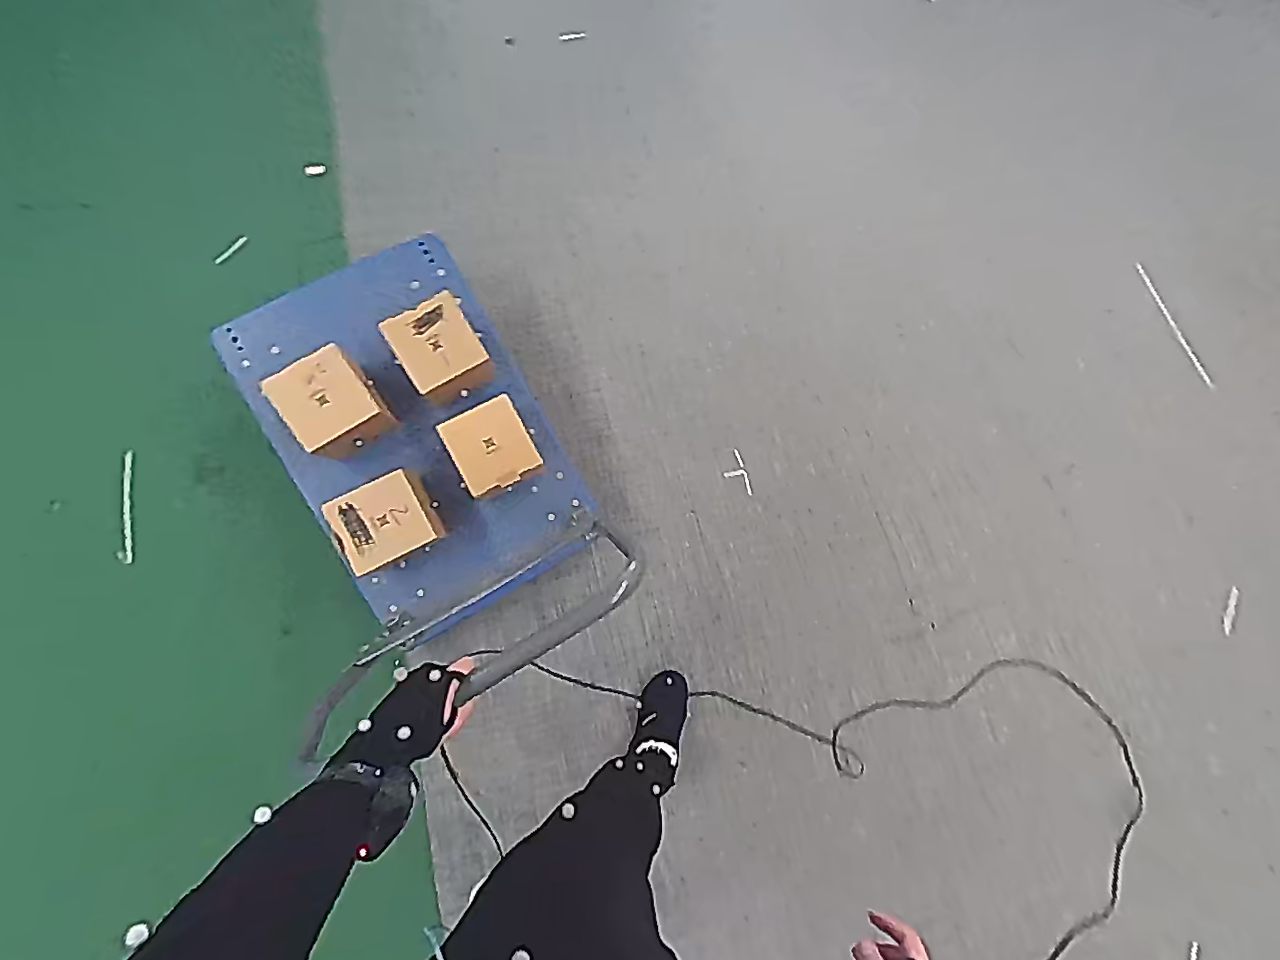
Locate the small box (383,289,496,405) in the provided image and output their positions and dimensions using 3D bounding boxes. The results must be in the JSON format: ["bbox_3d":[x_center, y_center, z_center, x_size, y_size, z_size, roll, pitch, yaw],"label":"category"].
[{"bbox_3d":[-0.446,-0.294,1.232,0.168,0.176,0.179,-31,92,-10],"label":"small box"}]

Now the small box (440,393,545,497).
[{"bbox_3d":[-0.331,-0.072,1.239,0.168,0.176,0.179,-29,92,-11],"label":"small box"}]

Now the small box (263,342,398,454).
[{"bbox_3d":[-0.663,-0.169,1.186,0.168,0.176,0.179,-34,92,-11],"label":"small box"}]
